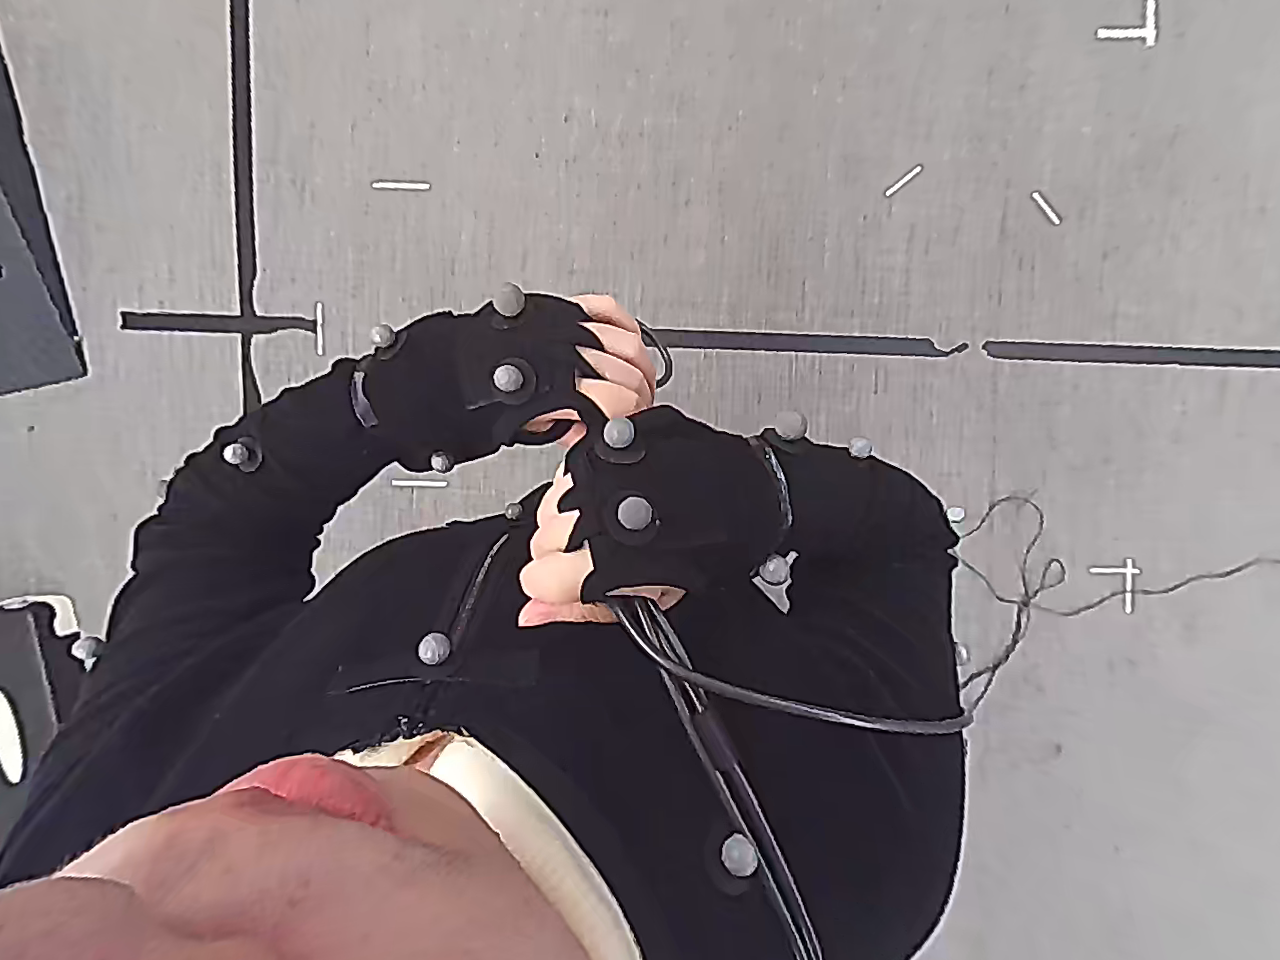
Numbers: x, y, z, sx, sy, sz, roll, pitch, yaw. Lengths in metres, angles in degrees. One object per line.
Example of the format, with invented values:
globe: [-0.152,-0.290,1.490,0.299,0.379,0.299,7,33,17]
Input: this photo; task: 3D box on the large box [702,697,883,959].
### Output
large box: [0.316,0.746,1.197,0.320,0.320,0.408,-2,94,0]
